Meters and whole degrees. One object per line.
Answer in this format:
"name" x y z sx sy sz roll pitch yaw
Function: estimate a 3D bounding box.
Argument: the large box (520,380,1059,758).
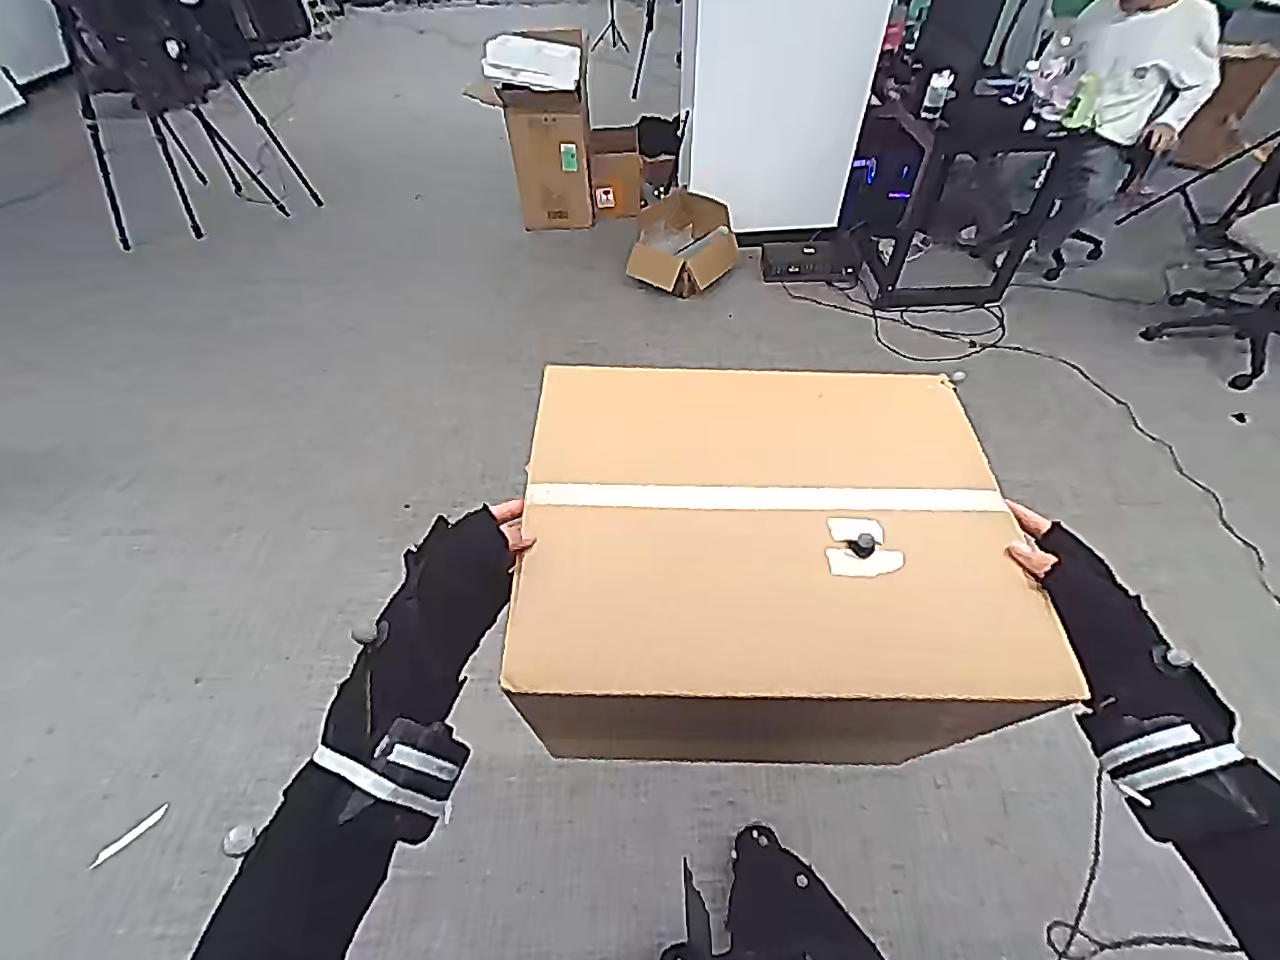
"large box" 0.103 0.108 0.594 0.408 0.320 0.320 1 55 -2
